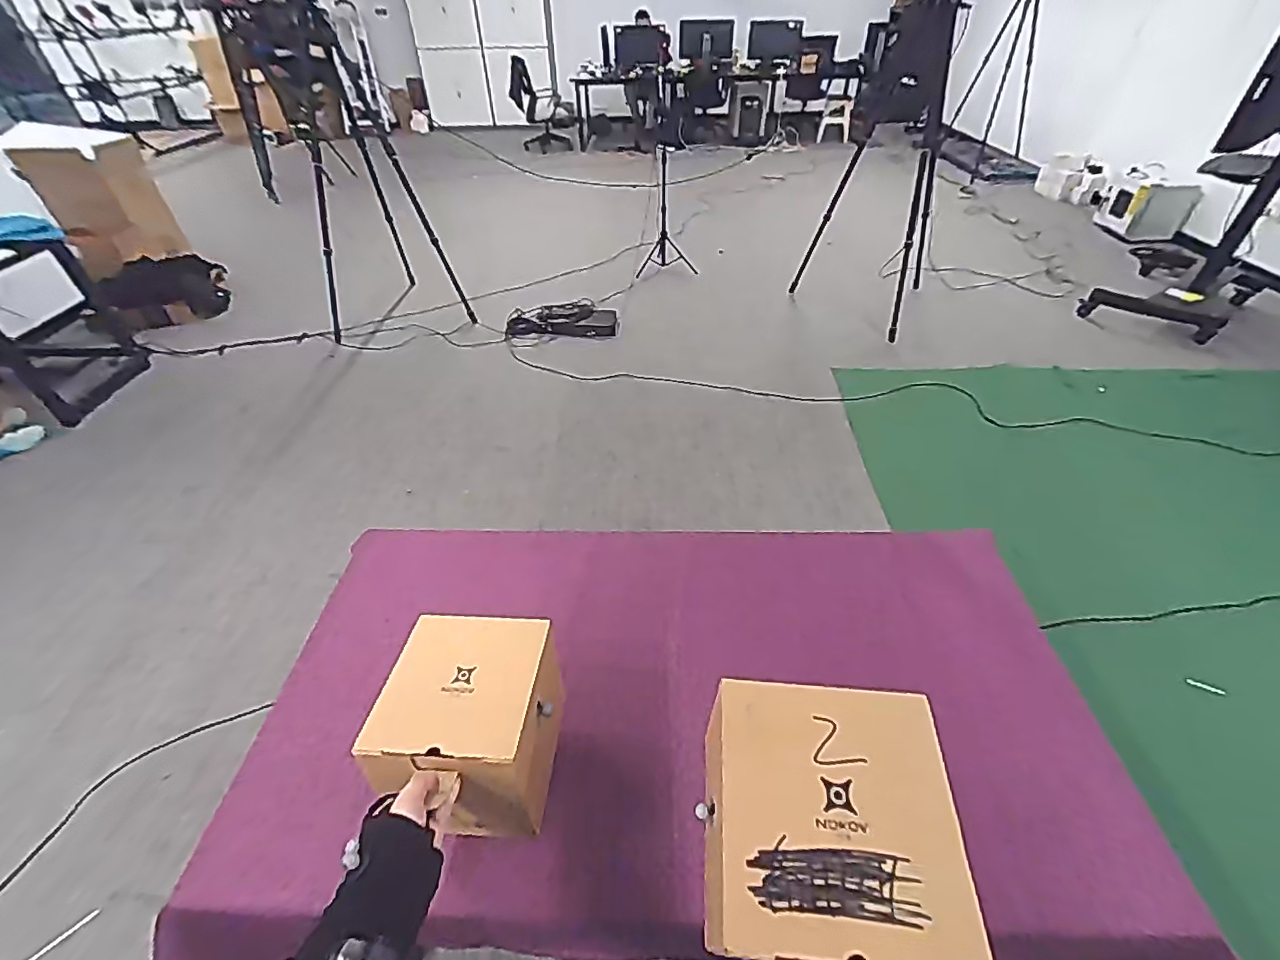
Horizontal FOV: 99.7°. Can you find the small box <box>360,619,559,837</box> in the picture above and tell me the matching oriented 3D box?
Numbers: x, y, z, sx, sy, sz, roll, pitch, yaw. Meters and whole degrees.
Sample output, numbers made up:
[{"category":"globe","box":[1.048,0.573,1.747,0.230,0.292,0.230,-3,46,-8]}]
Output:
[{"category":"small box","box":[-0.198,0.295,0.655,0.168,0.176,0.179,1,35,4]}]
